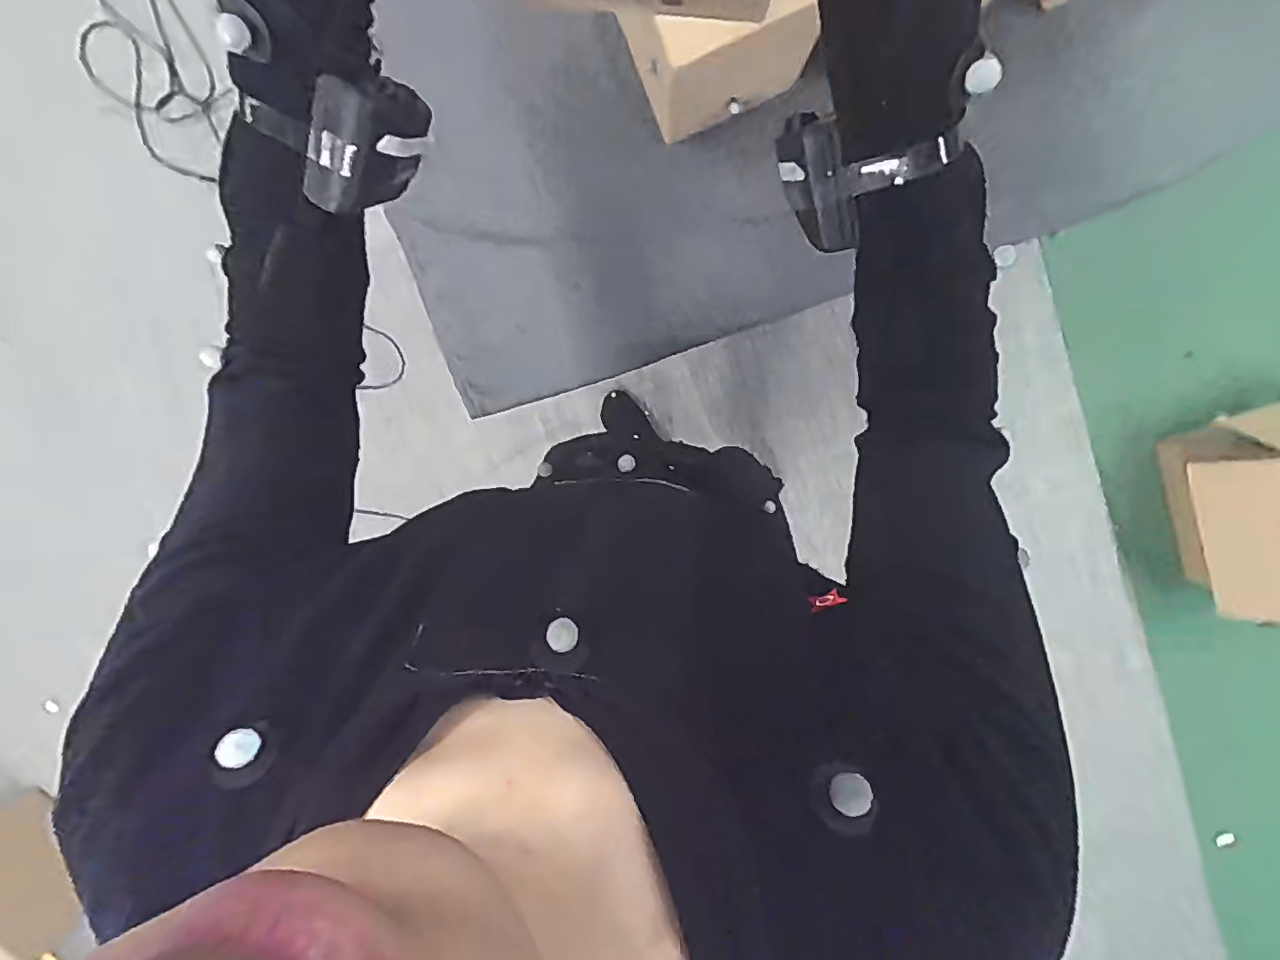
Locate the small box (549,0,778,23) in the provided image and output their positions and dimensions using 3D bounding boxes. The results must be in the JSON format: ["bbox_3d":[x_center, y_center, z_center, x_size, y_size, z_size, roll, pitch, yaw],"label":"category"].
[{"bbox_3d":[0.011,-0.362,0.245,0.168,0.176,0.179,6,106,2],"label":"small box"}]
